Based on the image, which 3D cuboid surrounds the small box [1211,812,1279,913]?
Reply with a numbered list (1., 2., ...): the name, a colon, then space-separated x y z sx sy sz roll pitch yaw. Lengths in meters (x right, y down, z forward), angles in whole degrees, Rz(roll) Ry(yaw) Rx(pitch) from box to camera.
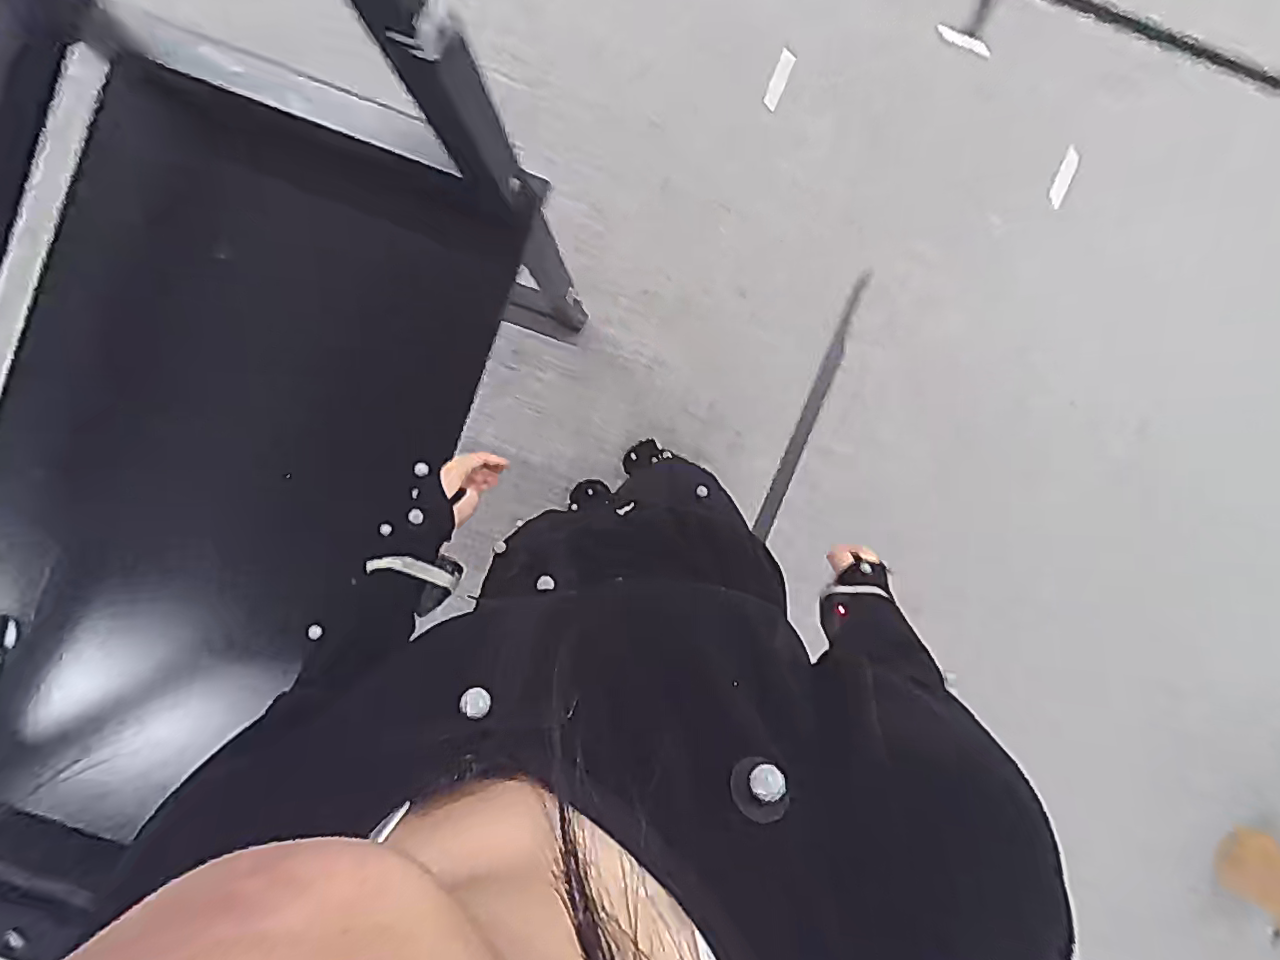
1. small box: 1.759 1.074 1.493 0.168 0.176 0.179 26 92 -2
